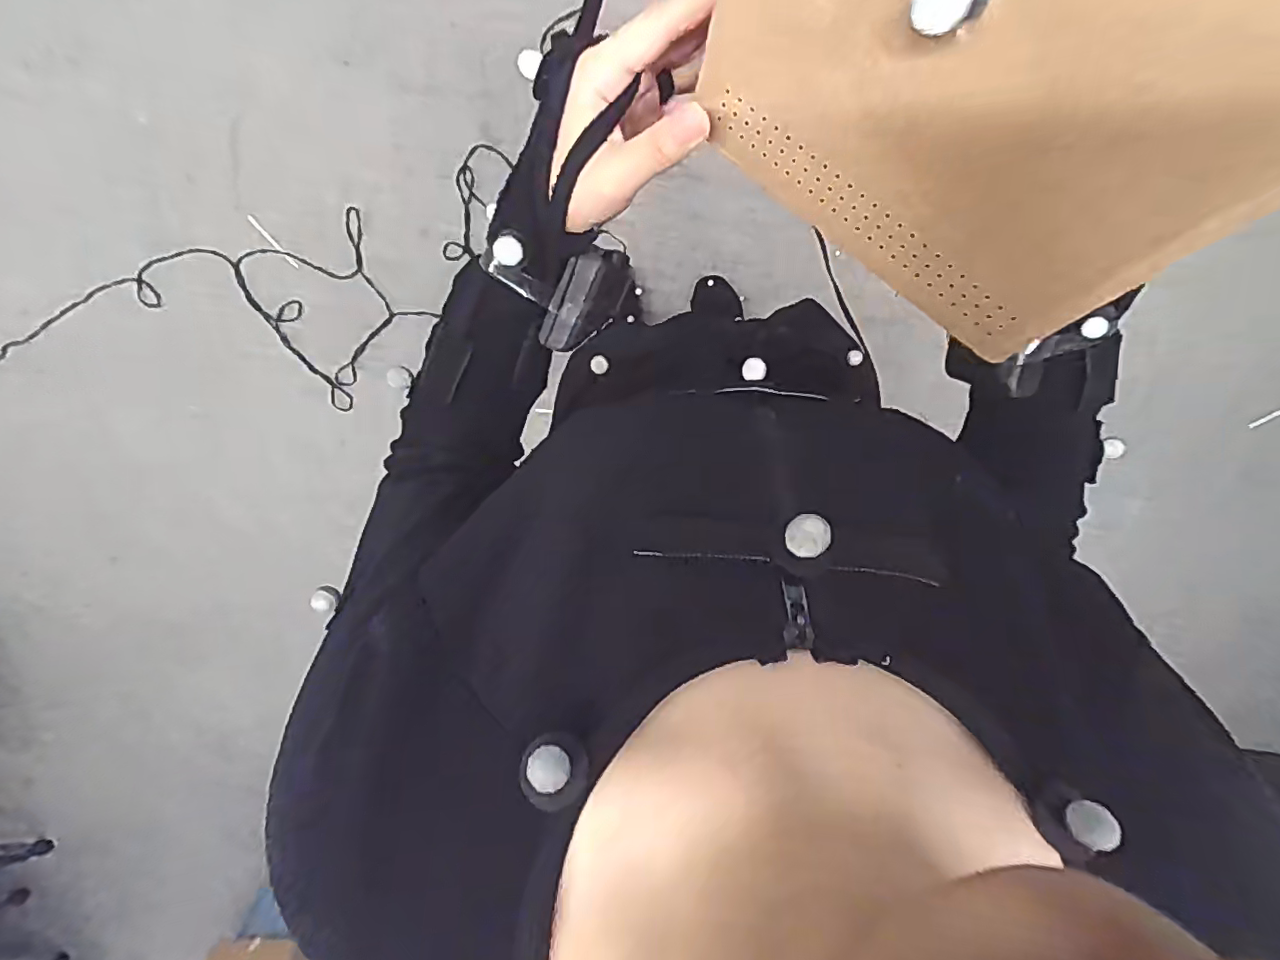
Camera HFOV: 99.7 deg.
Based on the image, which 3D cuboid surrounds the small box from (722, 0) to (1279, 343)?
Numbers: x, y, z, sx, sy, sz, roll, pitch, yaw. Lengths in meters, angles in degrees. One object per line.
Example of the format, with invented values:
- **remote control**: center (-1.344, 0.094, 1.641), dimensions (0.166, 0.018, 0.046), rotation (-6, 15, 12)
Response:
- **small box**: center (0.152, -0.181, 0.186), dimensions (0.179, 0.176, 0.168), rotation (39, 79, 4)
